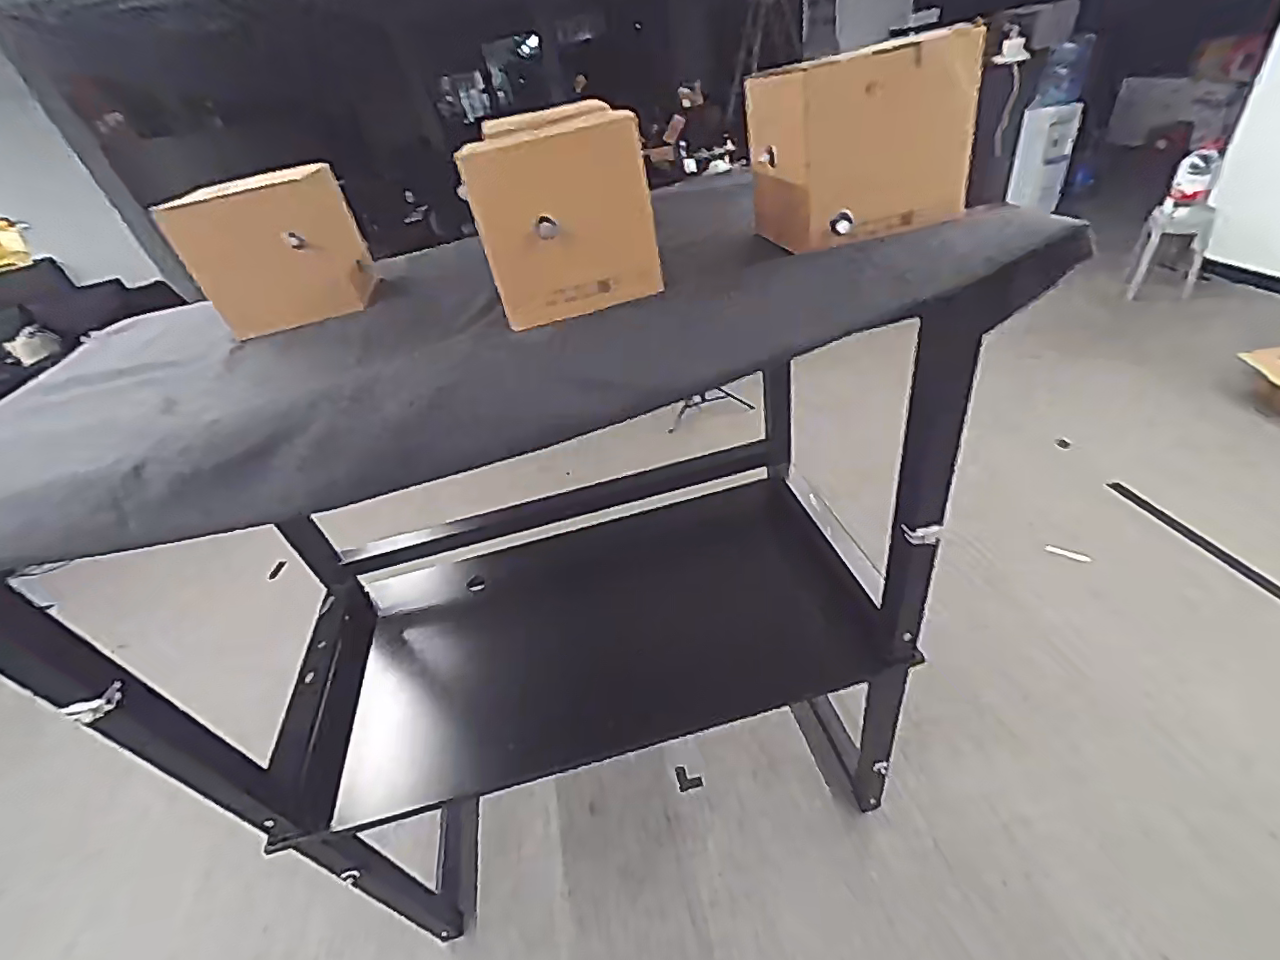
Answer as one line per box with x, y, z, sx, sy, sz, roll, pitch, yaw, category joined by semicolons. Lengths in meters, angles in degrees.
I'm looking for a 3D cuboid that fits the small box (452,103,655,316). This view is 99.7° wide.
-0.089;-0.294;0.595;0.168;0.176;0.179;-16;35;-3;small box

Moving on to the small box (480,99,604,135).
-0.126;-0.444;0.798;0.168;0.176;0.179;-16;37;-4;small box

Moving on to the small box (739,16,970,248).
0.219;-0.366;0.589;0.168;0.176;0.179;-14;34;-1;small box
